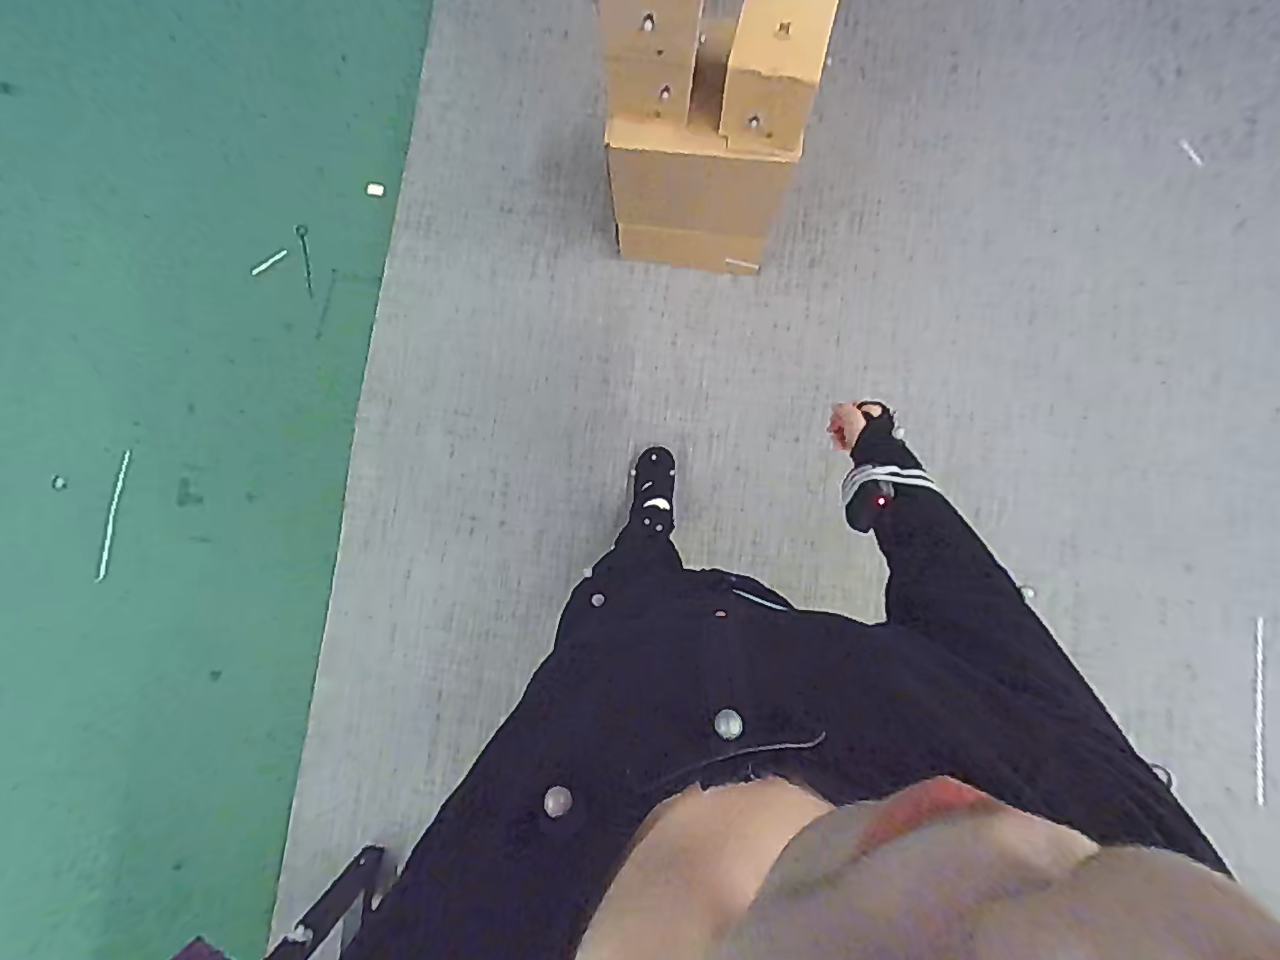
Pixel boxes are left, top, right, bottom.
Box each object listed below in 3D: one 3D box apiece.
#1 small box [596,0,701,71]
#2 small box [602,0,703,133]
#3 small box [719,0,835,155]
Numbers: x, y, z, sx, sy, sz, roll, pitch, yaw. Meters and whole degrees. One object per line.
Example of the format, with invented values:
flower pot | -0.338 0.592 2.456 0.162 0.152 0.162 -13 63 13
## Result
small box | 0.020 -0.823 0.889 0.168 0.176 0.179 7 86 -1
small box | 0.024 -0.819 1.053 0.168 0.176 0.179 8 85 0
small box | 0.254 -0.774 1.042 0.168 0.176 0.179 13 85 4
